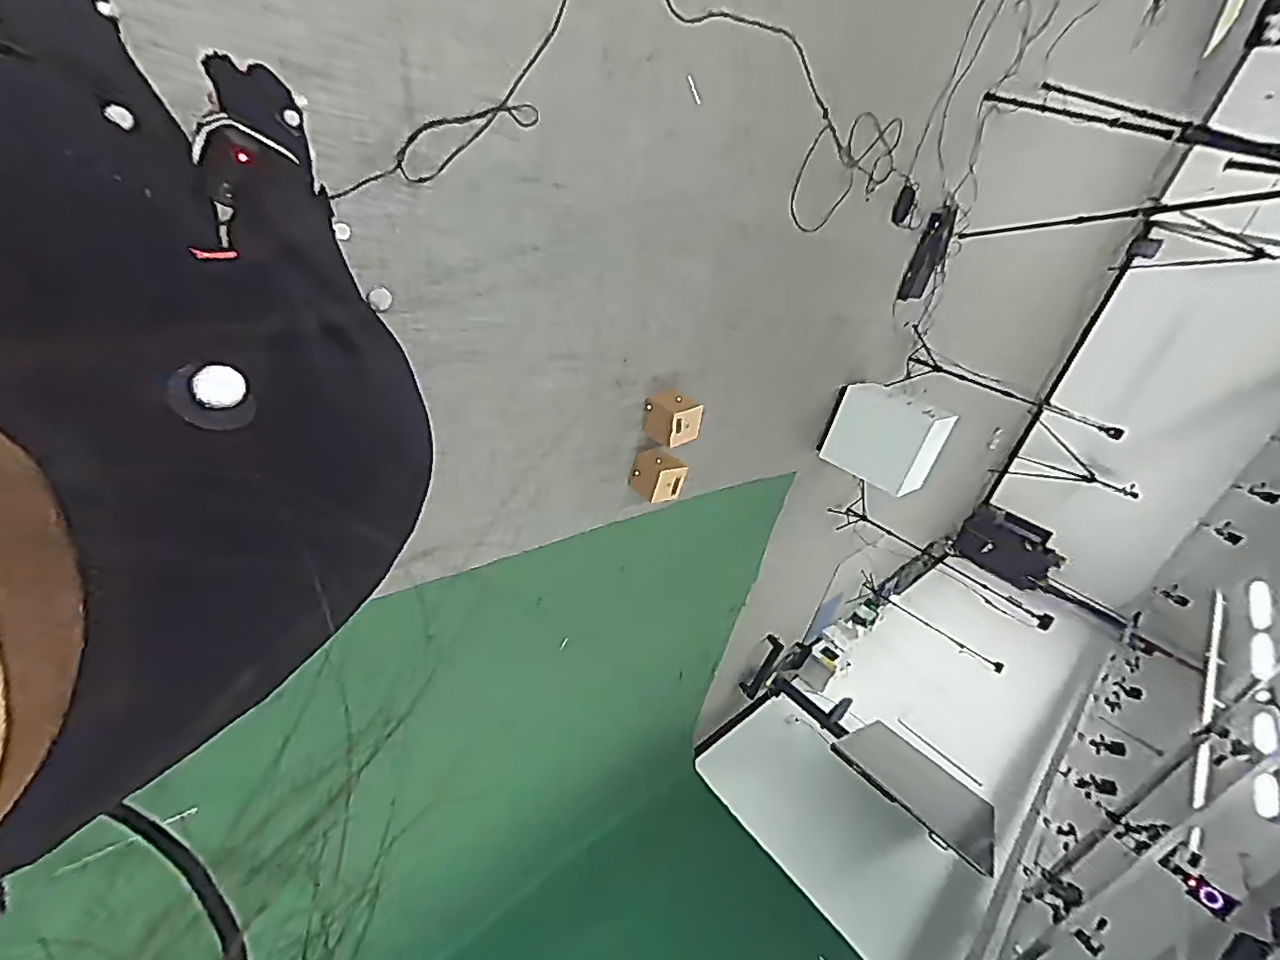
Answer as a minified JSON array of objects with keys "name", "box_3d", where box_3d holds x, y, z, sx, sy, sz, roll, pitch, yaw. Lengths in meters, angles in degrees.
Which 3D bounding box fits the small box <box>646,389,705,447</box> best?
[{"name":"small box","box_3d":[0.146,-0.265,2.279,0.179,0.176,0.168,-22,134,-36]}]
